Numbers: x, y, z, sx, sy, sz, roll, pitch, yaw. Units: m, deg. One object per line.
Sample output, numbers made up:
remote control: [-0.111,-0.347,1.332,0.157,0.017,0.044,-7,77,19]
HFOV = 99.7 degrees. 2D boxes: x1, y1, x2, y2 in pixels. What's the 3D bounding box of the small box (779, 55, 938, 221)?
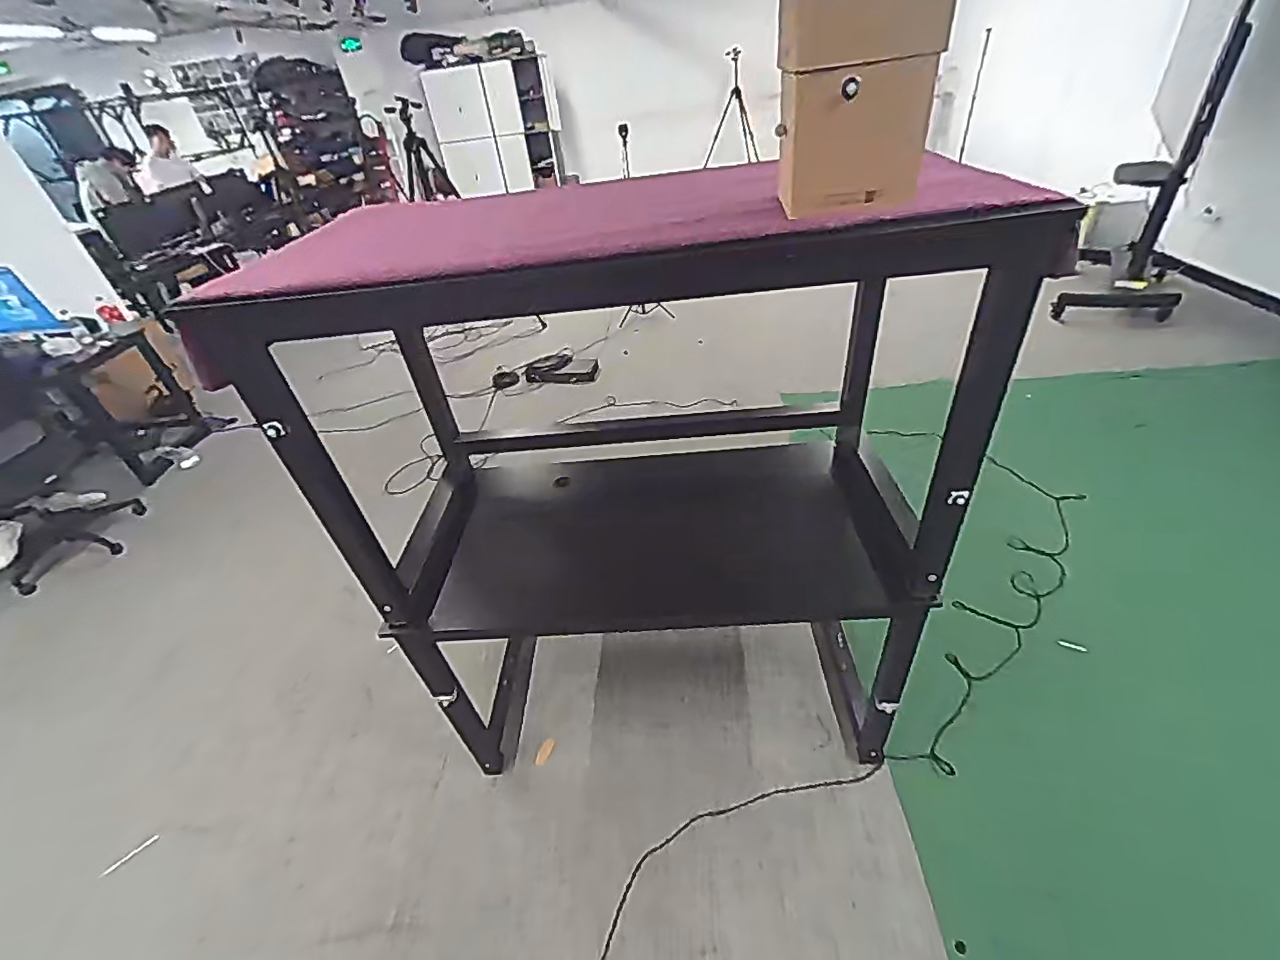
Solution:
small box: [0.285,-0.471,0.751,0.168,0.176,0.179,-3,38,9]
